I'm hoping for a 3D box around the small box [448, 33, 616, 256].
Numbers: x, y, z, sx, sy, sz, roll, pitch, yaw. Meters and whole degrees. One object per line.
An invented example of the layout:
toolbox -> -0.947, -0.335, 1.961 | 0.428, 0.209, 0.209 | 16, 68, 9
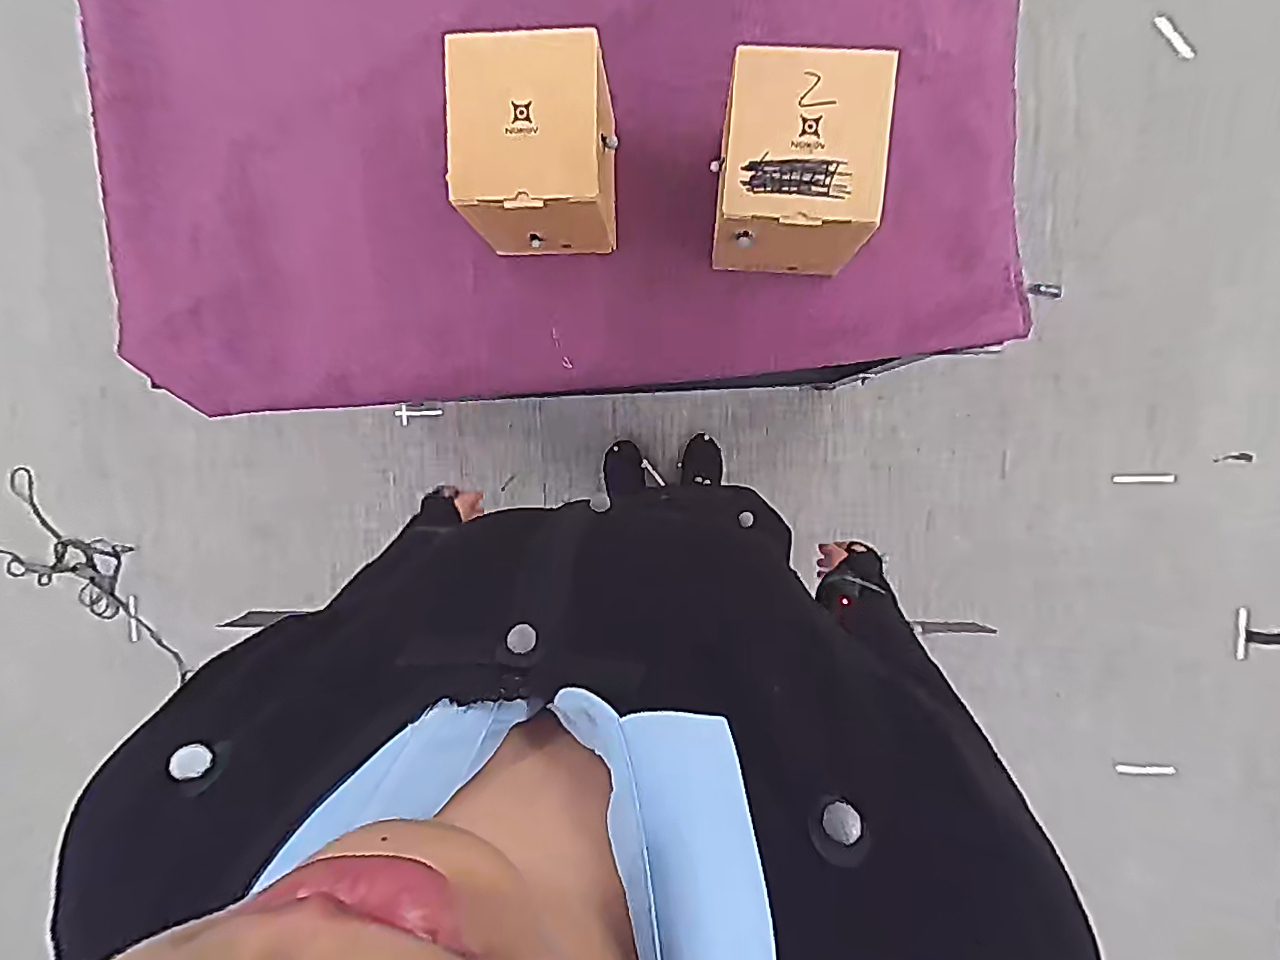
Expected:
small box -> -0.121, -0.391, 0.658 | 0.168, 0.176, 0.179 | 0, 95, 3
